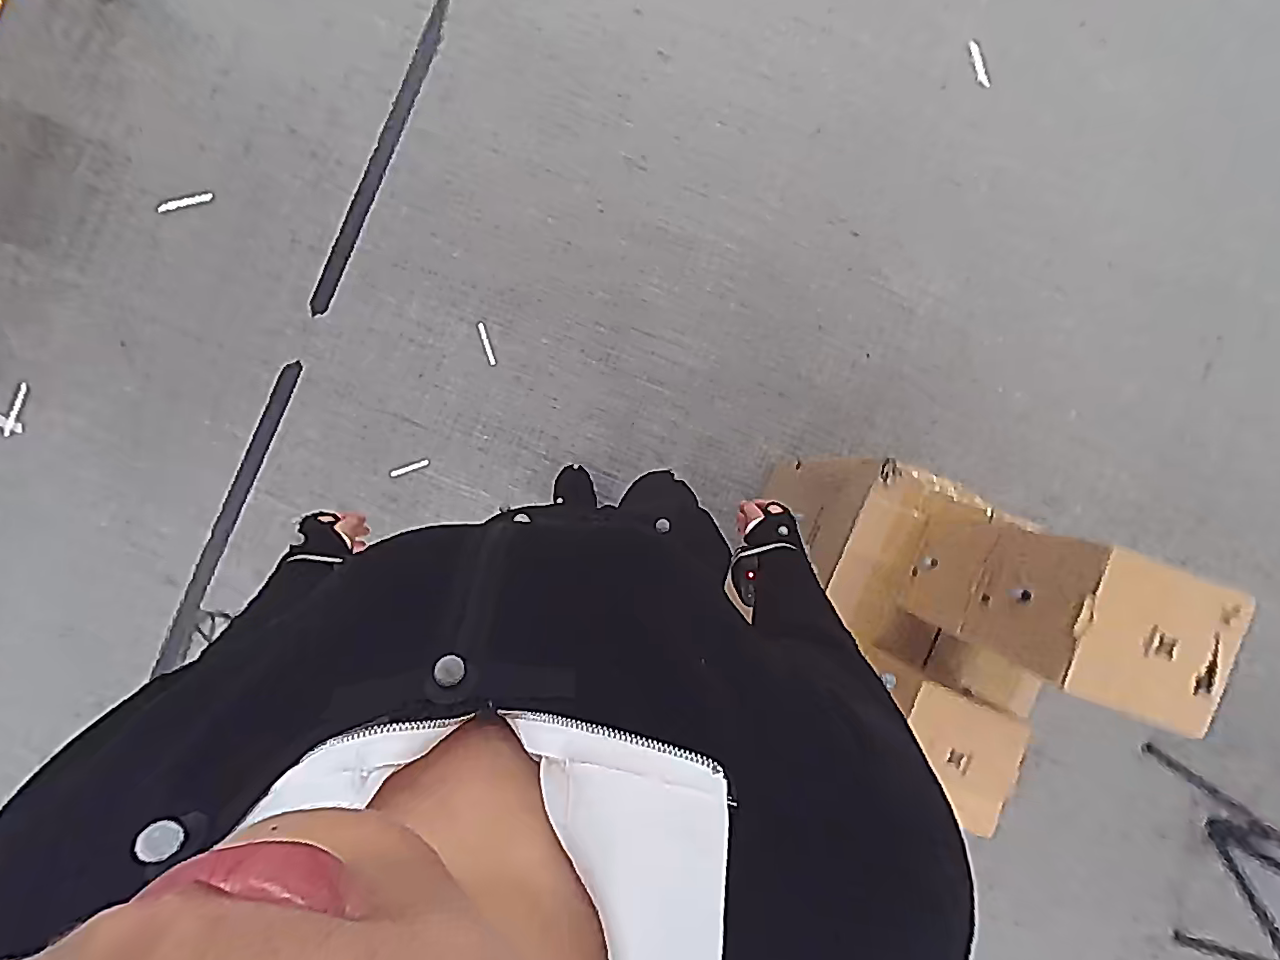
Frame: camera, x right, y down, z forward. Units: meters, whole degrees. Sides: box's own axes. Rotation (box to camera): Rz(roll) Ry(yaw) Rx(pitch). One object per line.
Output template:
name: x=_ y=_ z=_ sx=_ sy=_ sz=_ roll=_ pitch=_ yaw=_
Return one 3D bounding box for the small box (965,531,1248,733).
small box: x=0.545 y=0.168 z=0.660 sx=0.179 sy=0.176 sz=0.168 roll=20 pitch=91 yaw=-2

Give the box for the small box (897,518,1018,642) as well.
small box: x=0.536 y=0.165 z=0.824 sx=0.179 sy=0.176 sz=0.168 roll=22 pitch=91 yaw=-2

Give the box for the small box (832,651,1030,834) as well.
small box: x=0.427 y=0.383 z=0.823 sx=0.179 sy=0.176 sz=0.168 roll=23 pitch=87 yaw=-1
